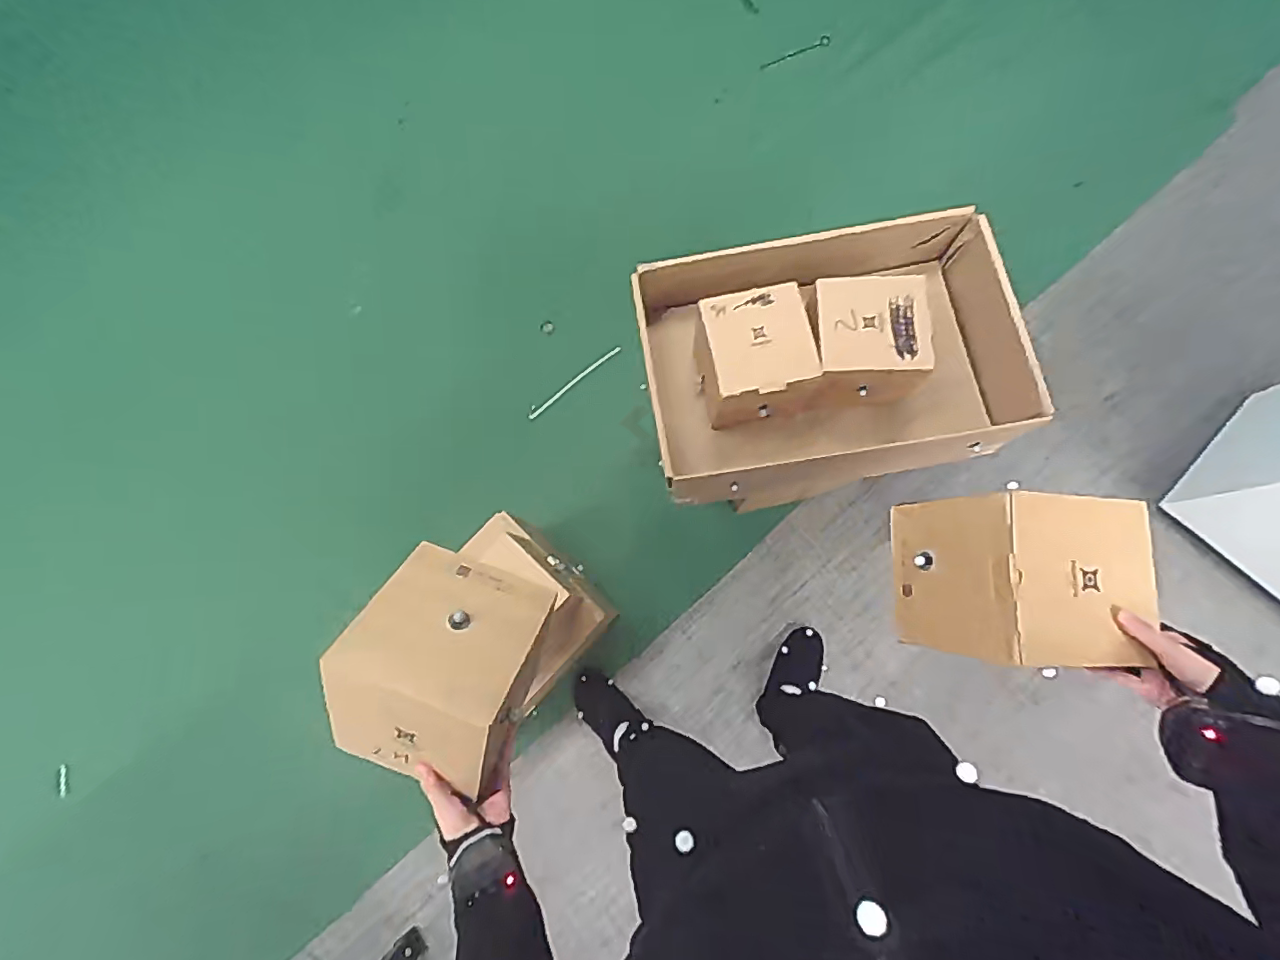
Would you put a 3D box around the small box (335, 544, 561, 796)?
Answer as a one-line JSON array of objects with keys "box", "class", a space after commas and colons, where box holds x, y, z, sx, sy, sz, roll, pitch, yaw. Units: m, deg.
[{"box": [-0.199, 0.200, 0.593, 0.168, 0.179, 0.176, 21, 38, 3], "class": "small box"}]

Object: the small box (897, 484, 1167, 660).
[{"box": [0.416, 0.099, 0.599, 0.179, 0.176, 0.168, 4, 81, -12], "class": "small box"}]

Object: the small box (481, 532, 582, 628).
[{"box": [-0.226, 0.220, 0.991, 0.168, 0.176, 0.179, 42, 83, 10], "class": "small box"}]
